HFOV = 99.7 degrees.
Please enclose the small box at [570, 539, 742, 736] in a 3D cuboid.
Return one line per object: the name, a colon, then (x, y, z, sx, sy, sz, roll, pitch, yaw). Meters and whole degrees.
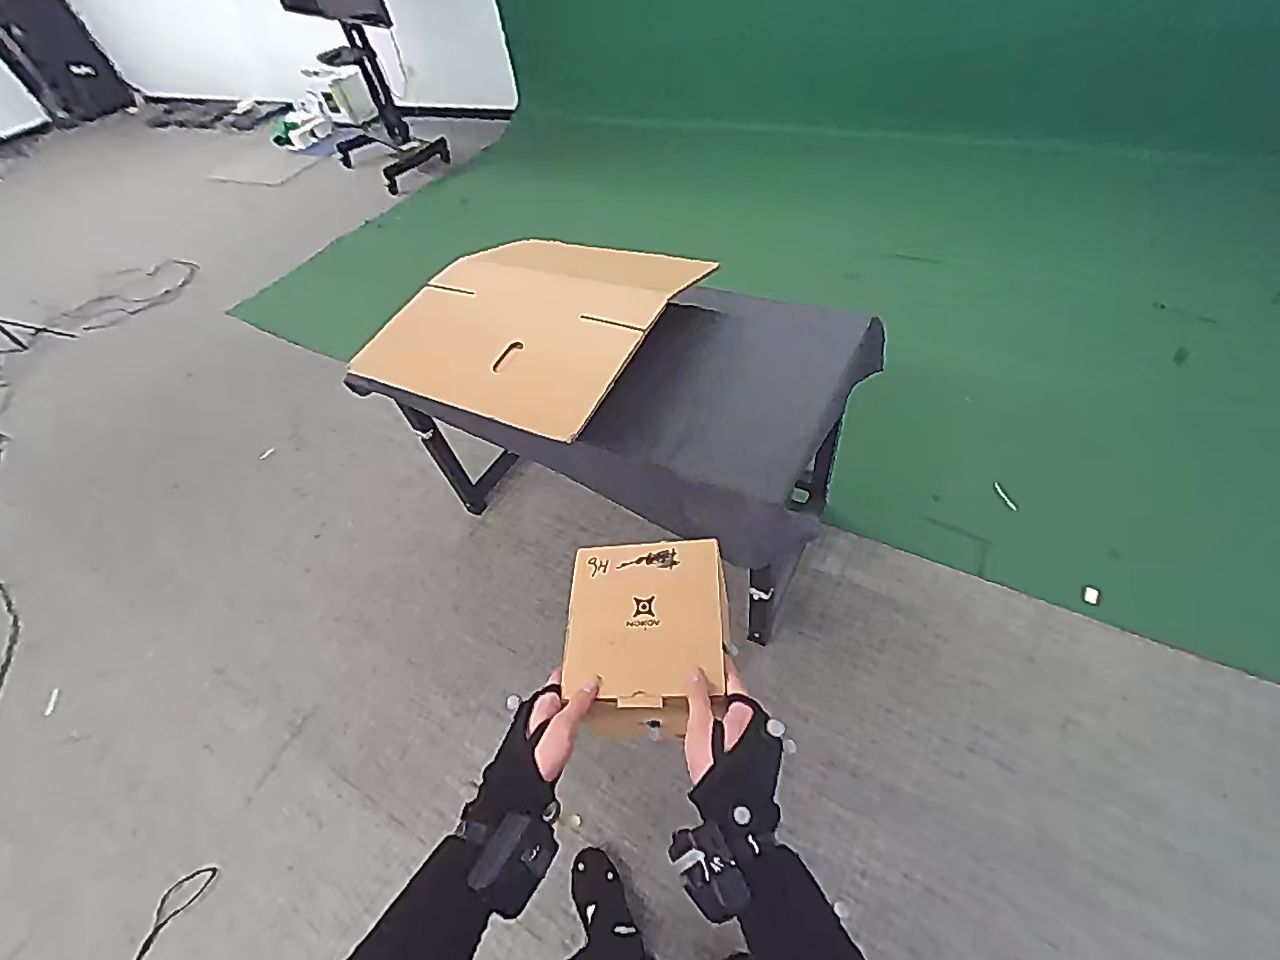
small box: (0.026, 0.194, 0.639, 0.168, 0.176, 0.179, -8, 51, 9)
